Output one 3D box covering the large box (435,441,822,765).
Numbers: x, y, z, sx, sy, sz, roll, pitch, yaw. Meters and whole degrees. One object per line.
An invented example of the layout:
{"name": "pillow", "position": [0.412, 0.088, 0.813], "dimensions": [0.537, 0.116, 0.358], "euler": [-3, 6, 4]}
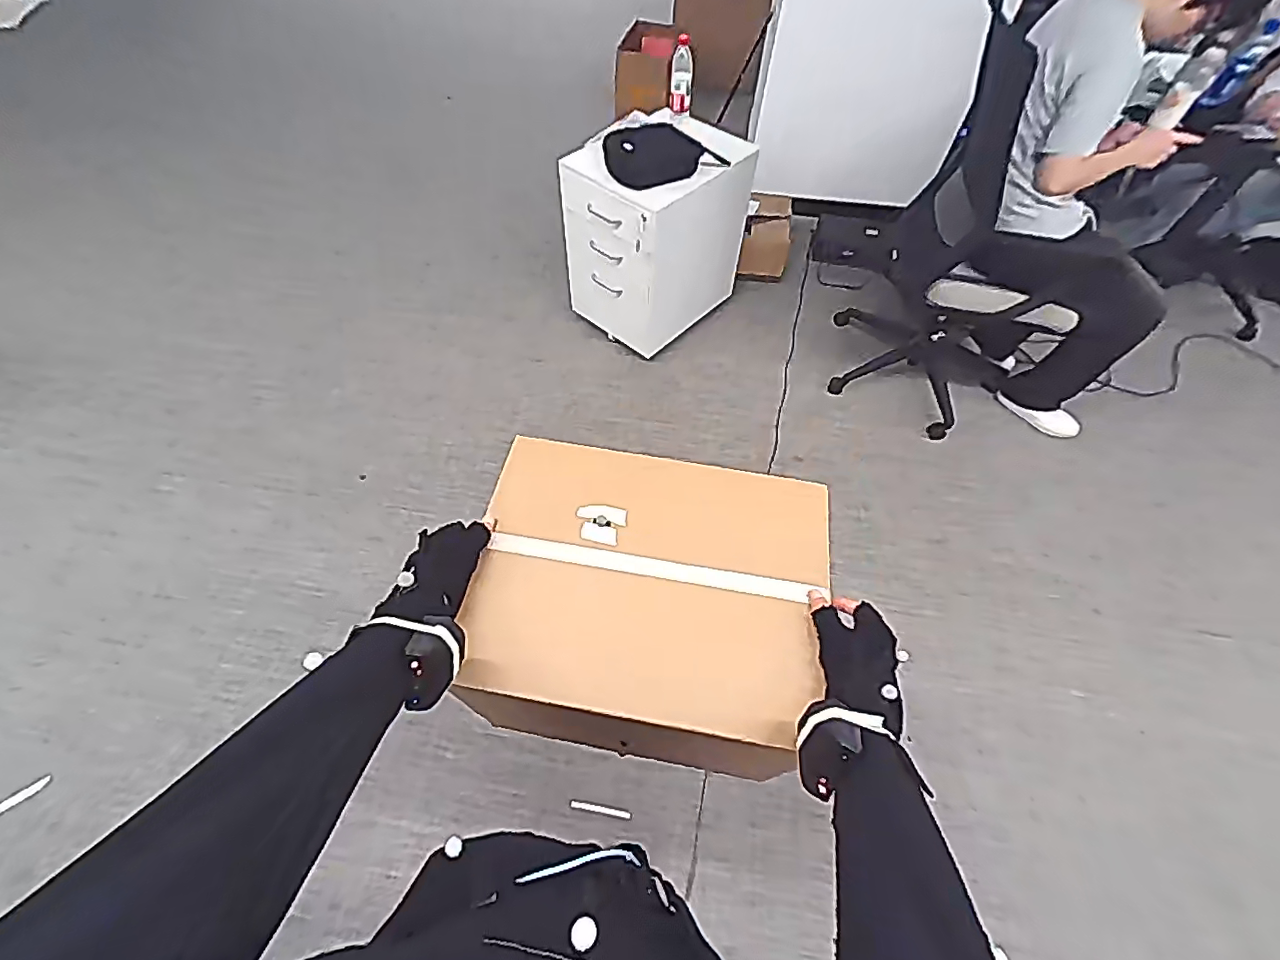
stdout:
{"name": "large box", "position": [0.008, 0.181, 0.746], "dimensions": [0.408, 0.320, 0.320], "euler": [9, 57, 5]}
